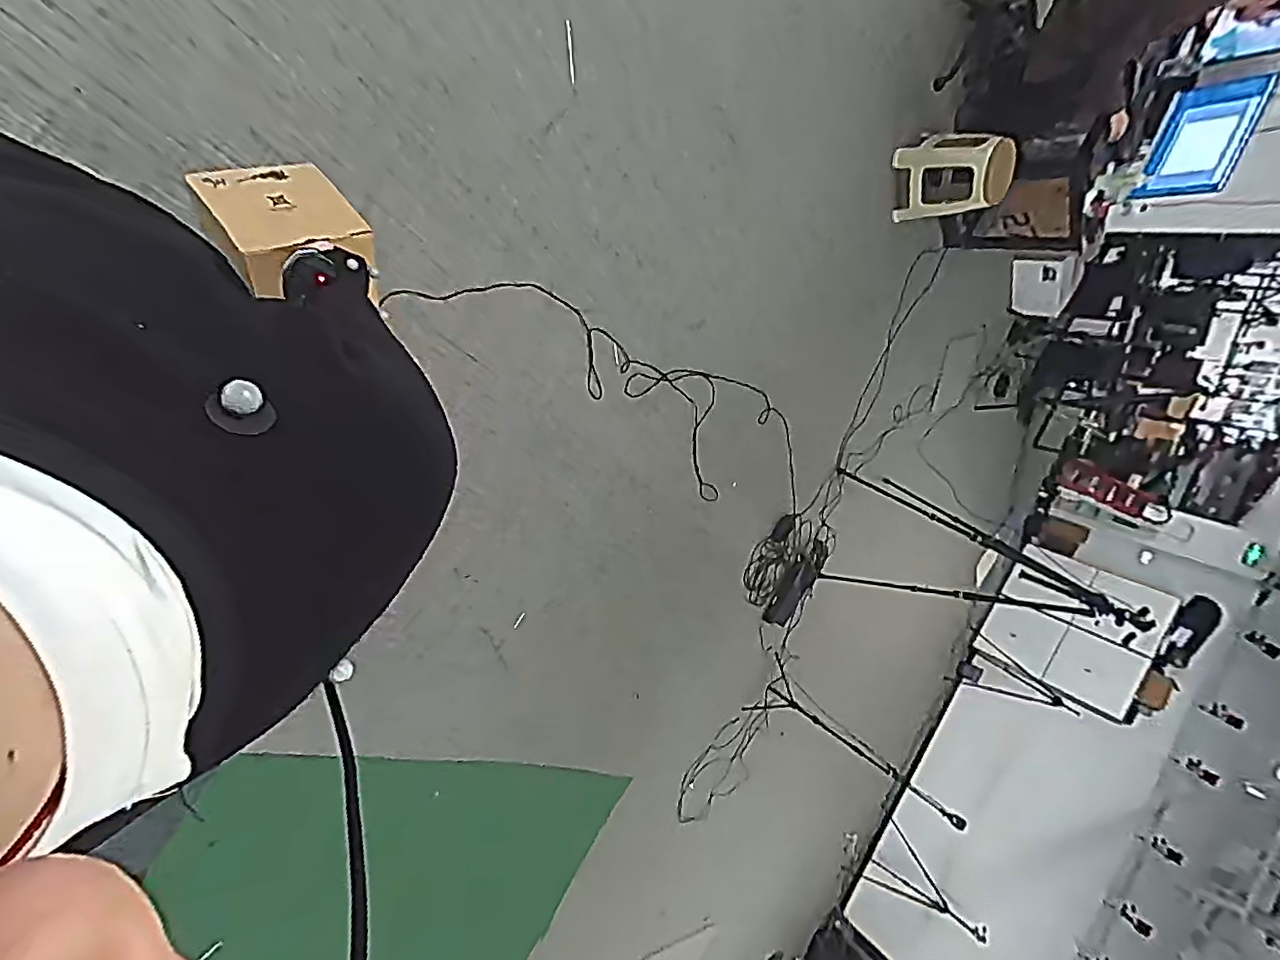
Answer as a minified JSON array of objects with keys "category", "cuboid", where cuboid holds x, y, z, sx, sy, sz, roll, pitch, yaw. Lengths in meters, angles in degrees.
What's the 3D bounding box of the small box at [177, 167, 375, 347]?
[{"category":"small box","cuboid":[-0.518,-0.320,0.797,0.168,0.179,0.176,-35,163,-34]}]
